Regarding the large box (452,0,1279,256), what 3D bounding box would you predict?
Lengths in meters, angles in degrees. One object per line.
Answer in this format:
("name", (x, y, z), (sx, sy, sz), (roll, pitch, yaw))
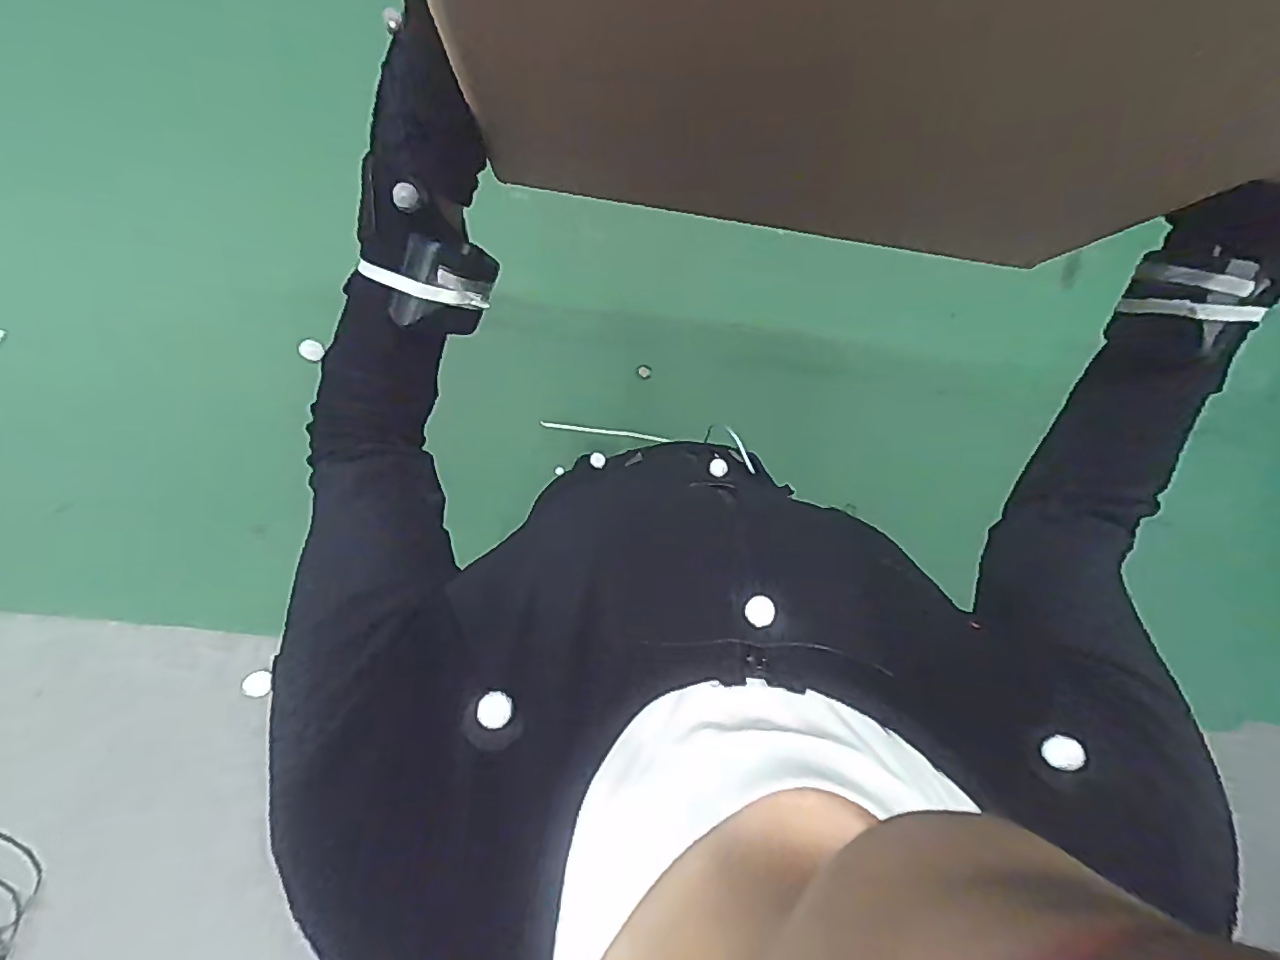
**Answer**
("large box", (0.129, -0.330, 0.238), (0.408, 0.320, 0.320), (7, 94, -6))
